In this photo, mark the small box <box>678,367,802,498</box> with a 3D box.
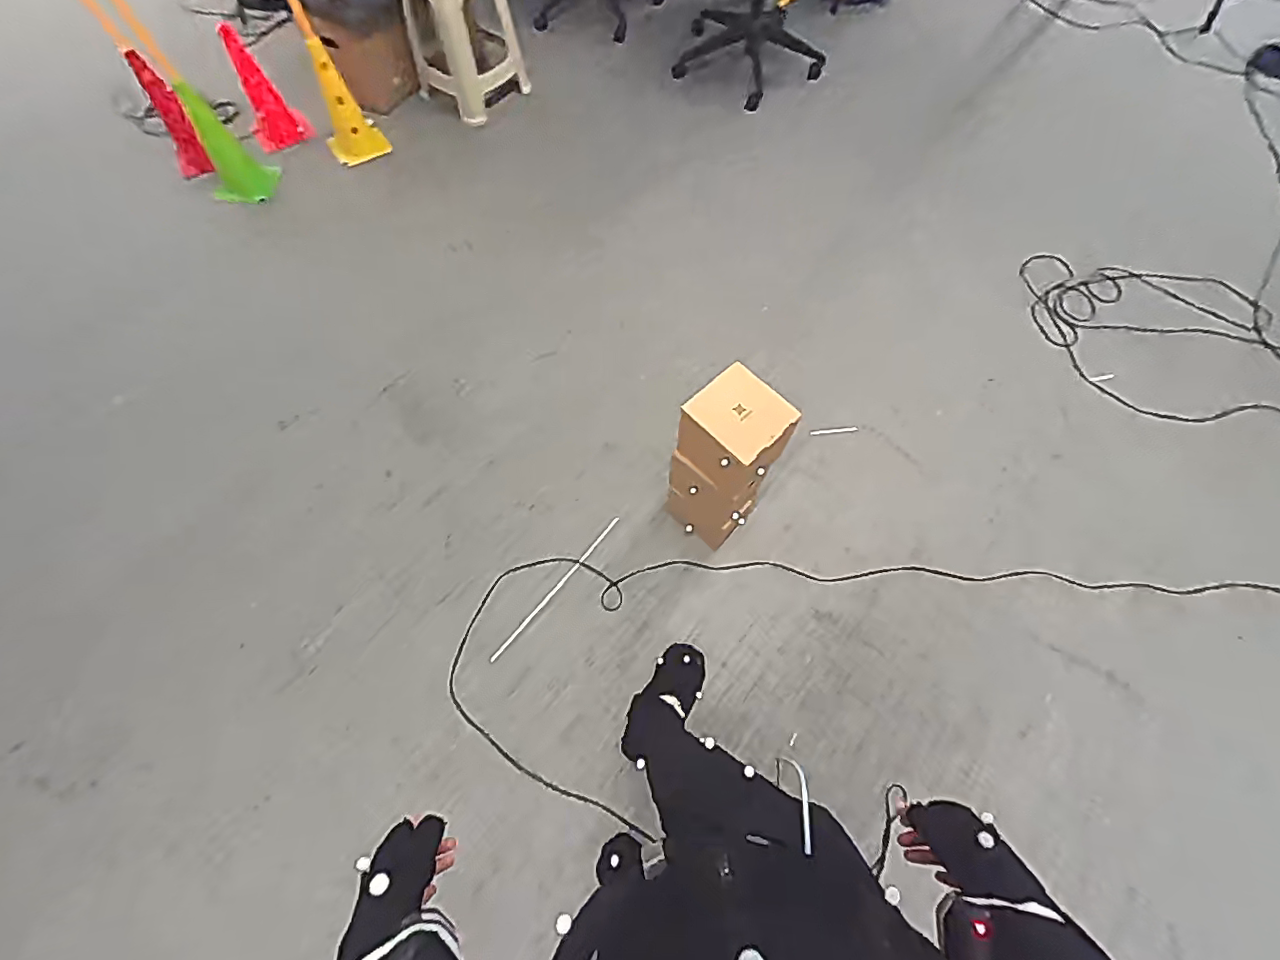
[{"bbox_3d":[0.195,-0.092,1.120,0.168,0.176,0.179,-41,73,-17],"label":"small box"}]

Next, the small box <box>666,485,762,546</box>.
[{"bbox_3d":[0.186,0.053,1.416,0.179,0.176,0.168,36,68,13],"label":"small box"}]

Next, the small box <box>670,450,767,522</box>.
[{"bbox_3d":[0.187,-0.021,1.266,0.179,0.176,0.168,39,71,16],"label":"small box"}]
